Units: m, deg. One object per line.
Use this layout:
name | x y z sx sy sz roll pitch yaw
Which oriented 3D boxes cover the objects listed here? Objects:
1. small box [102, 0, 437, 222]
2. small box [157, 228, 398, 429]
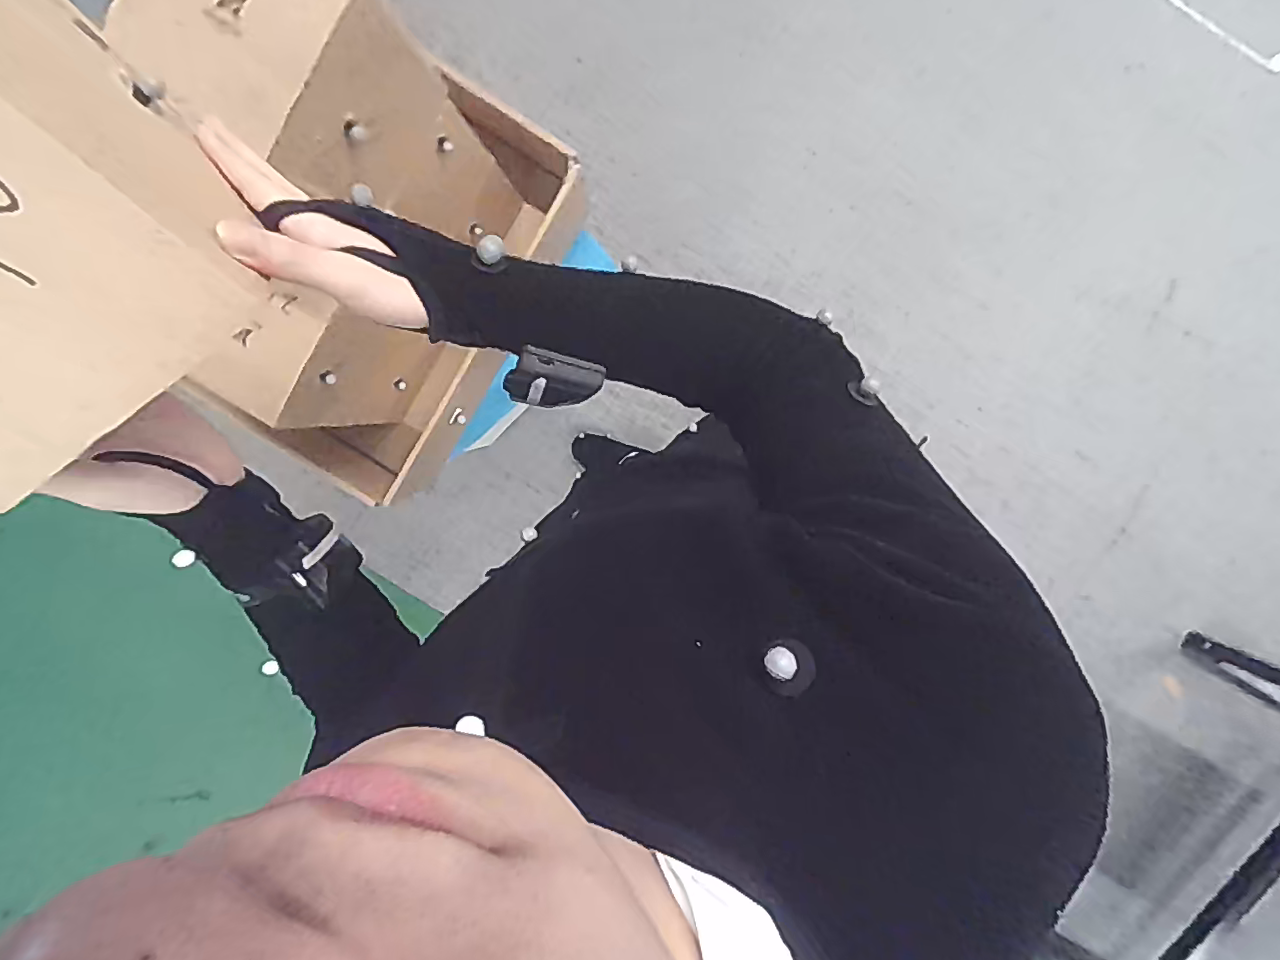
small box | -0.326 -0.383 0.515 0.168 0.176 0.179 34 99 -3
small box | -0.455 -0.183 0.709 0.168 0.176 0.179 32 97 -2
